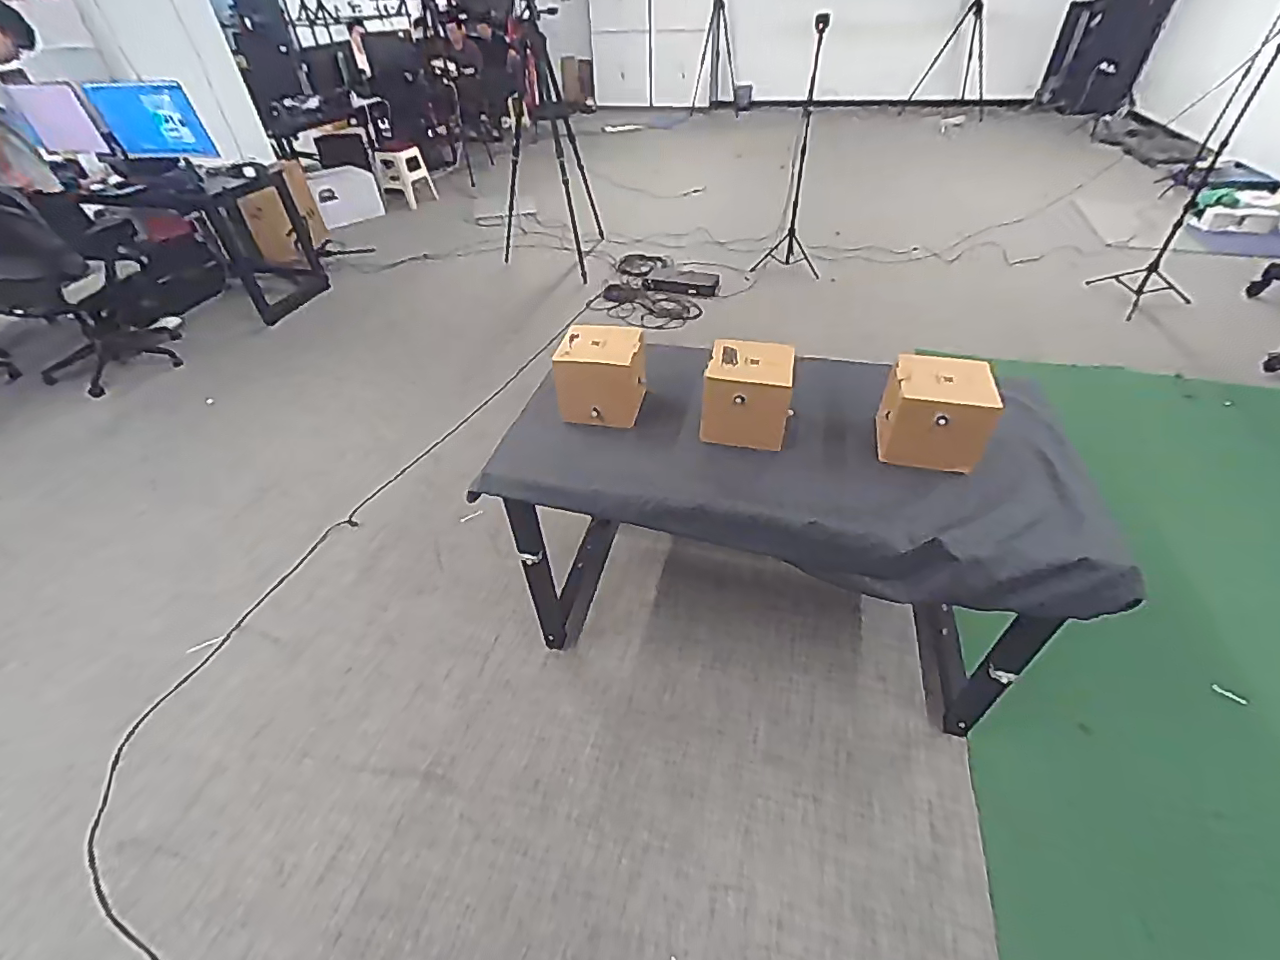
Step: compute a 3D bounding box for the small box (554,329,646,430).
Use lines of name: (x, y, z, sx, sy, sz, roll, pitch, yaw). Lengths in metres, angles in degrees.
small box: (-0.084, -0.233, 1.266, 0.179, 0.176, 0.168, 7, 43, 9)

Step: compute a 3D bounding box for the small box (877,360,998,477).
small box: (0.600, -0.126, 1.119, 0.179, 0.176, 0.168, 10, 45, 12)

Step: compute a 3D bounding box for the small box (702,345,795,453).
small box: (0.236, -0.178, 1.190, 0.179, 0.176, 0.168, 9, 43, 11)
